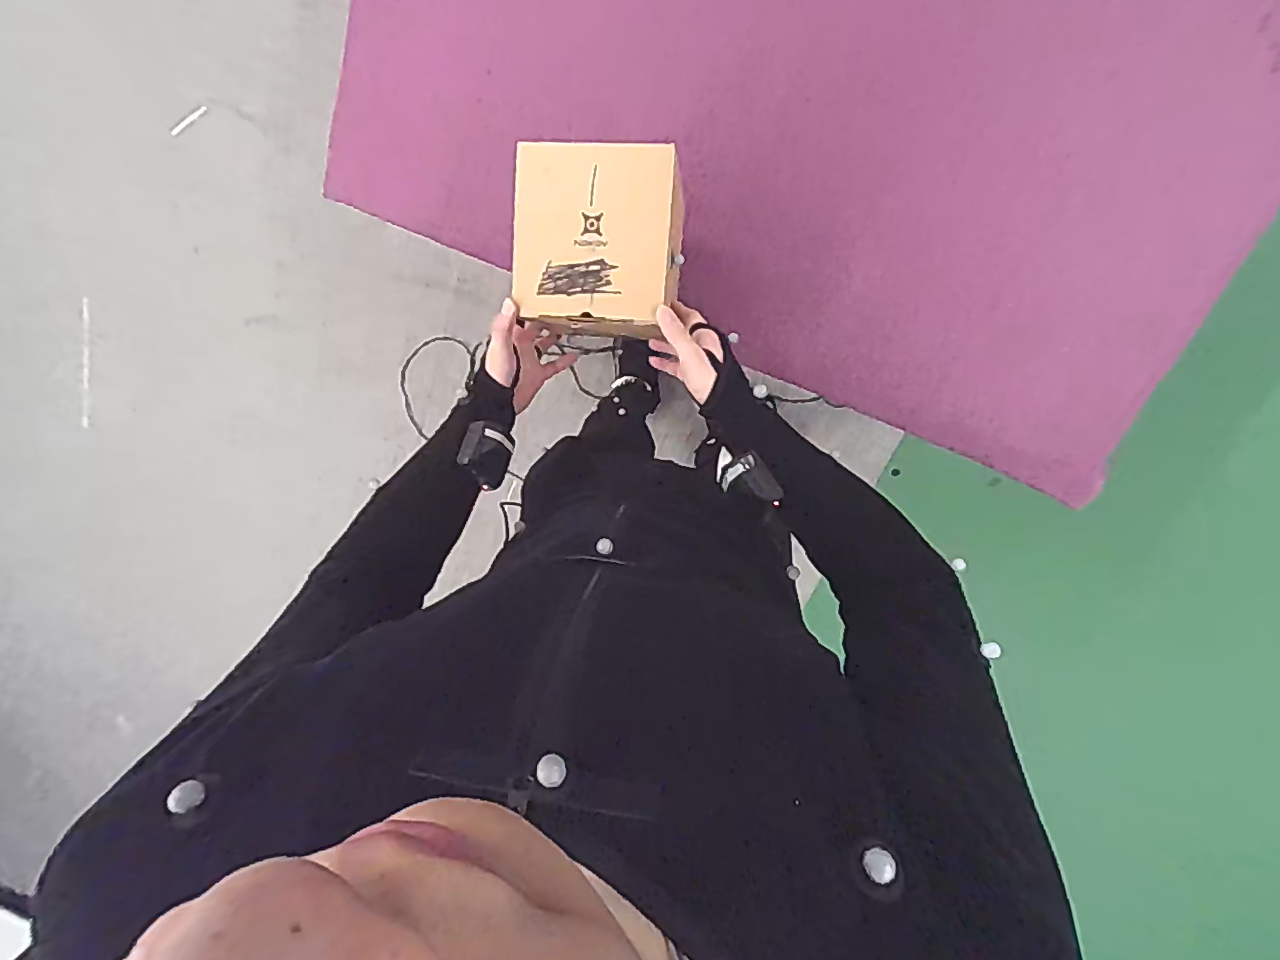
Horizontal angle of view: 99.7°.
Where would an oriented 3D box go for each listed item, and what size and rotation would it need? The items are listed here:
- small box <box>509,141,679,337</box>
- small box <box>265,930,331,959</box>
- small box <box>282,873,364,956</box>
[{"bbox_3d":[-0.045,-0.268,0.638,0.168,0.176,0.179,5,100,5],"label":"small box"},{"bbox_3d":[-1.051,1.489,1.592,0.168,0.176,0.179,31,109,-4],"label":"small box"},{"bbox_3d":[-1.028,1.430,1.744,0.168,0.176,0.179,29,108,-3],"label":"small box"}]
